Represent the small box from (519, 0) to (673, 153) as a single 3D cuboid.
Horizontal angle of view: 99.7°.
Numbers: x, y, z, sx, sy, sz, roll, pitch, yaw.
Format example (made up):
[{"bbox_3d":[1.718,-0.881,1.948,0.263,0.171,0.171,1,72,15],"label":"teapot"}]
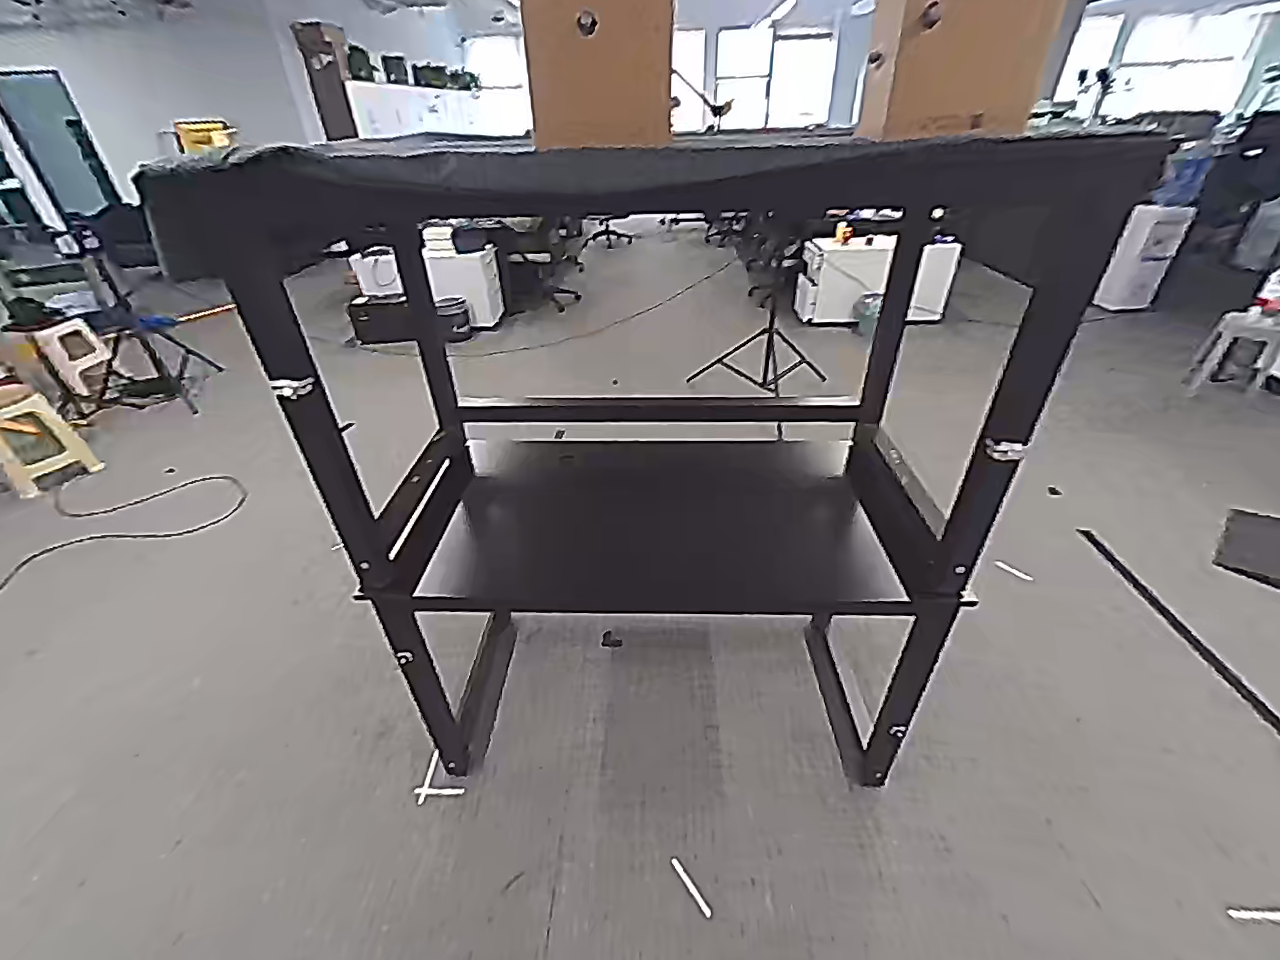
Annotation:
[{"bbox_3d":[-0.048,-0.526,0.703,0.179,0.176,0.168,-1,33,0],"label":"small box"}]
